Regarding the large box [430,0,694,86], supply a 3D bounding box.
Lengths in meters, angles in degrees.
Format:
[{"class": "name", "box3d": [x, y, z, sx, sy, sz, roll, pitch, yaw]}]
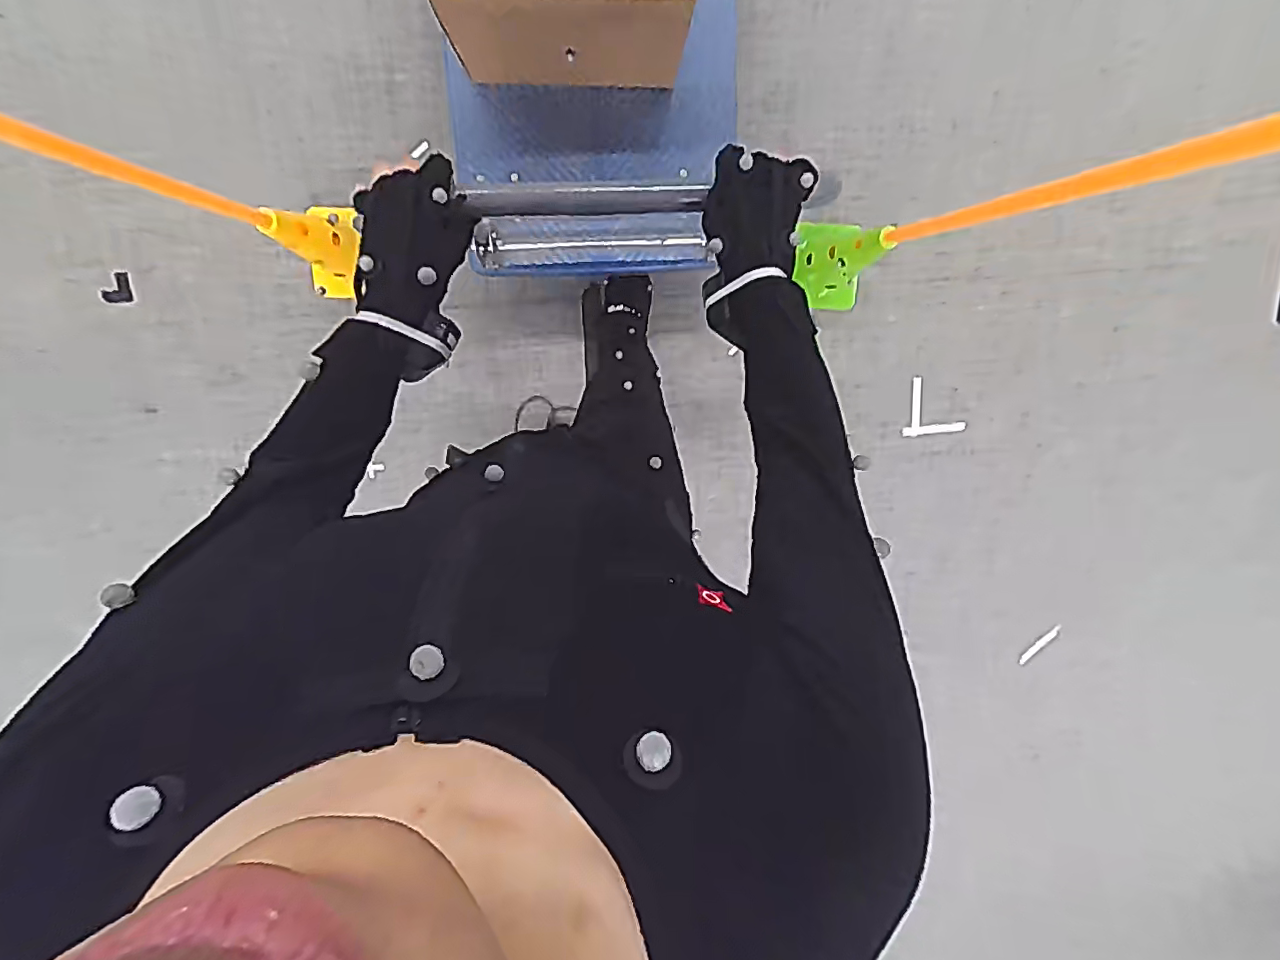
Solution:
[{"class": "large box", "box3d": [-0.123, -0.904, 0.913, 0.408, 0.320, 0.320, -1, 105, -2]}]

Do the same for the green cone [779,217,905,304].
[{"class": "green cone", "box3d": [0.463, -0.507, 1.188, 0.202, 0.368, 0.200, 0, 104, -4]}]
